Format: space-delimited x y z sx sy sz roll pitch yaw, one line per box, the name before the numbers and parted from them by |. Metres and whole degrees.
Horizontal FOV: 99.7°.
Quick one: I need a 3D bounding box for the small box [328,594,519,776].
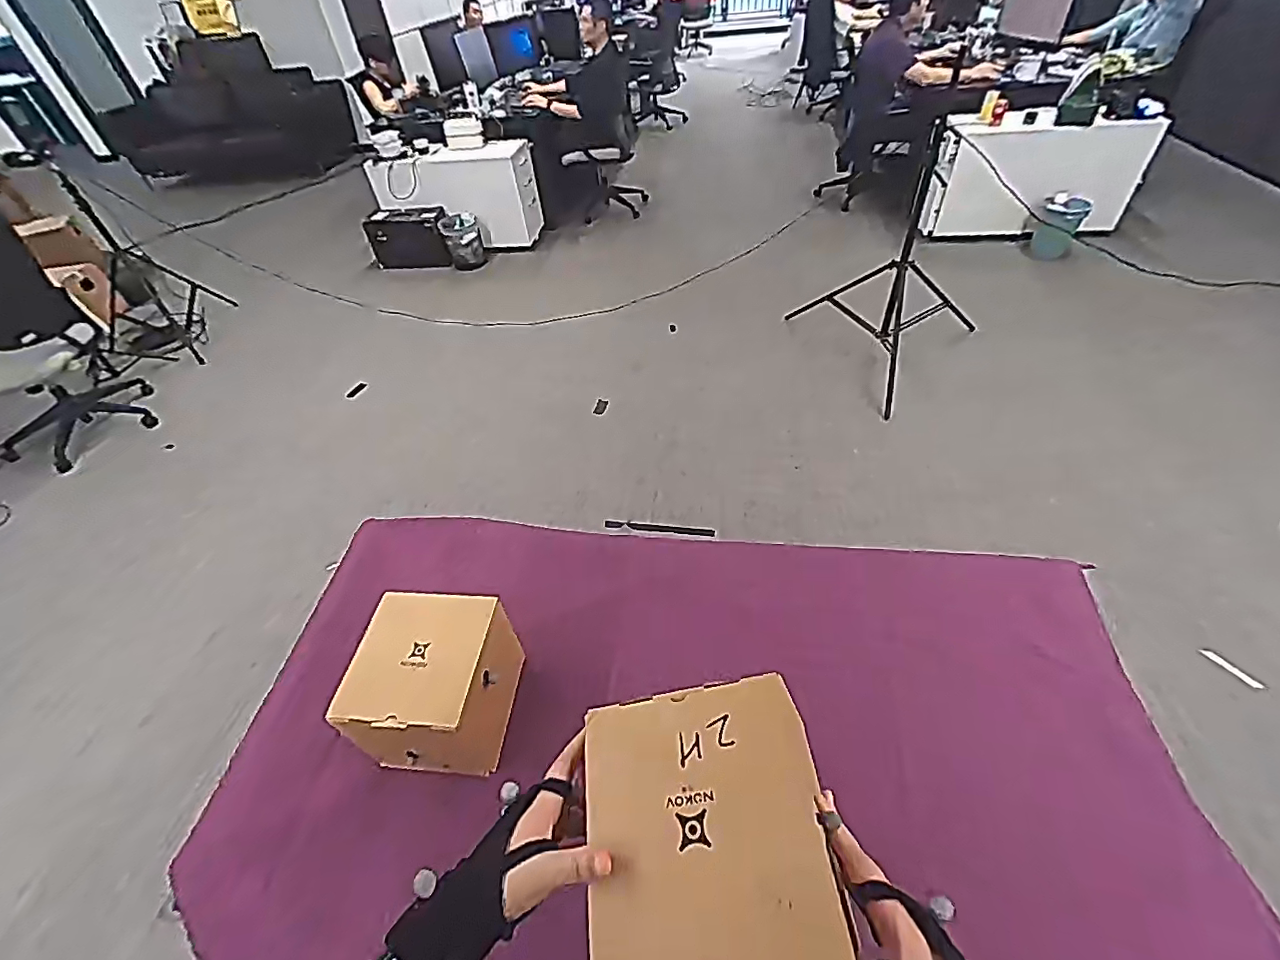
small box | -0.274 0.278 0.737 0.168 0.176 0.179 1 47 6
